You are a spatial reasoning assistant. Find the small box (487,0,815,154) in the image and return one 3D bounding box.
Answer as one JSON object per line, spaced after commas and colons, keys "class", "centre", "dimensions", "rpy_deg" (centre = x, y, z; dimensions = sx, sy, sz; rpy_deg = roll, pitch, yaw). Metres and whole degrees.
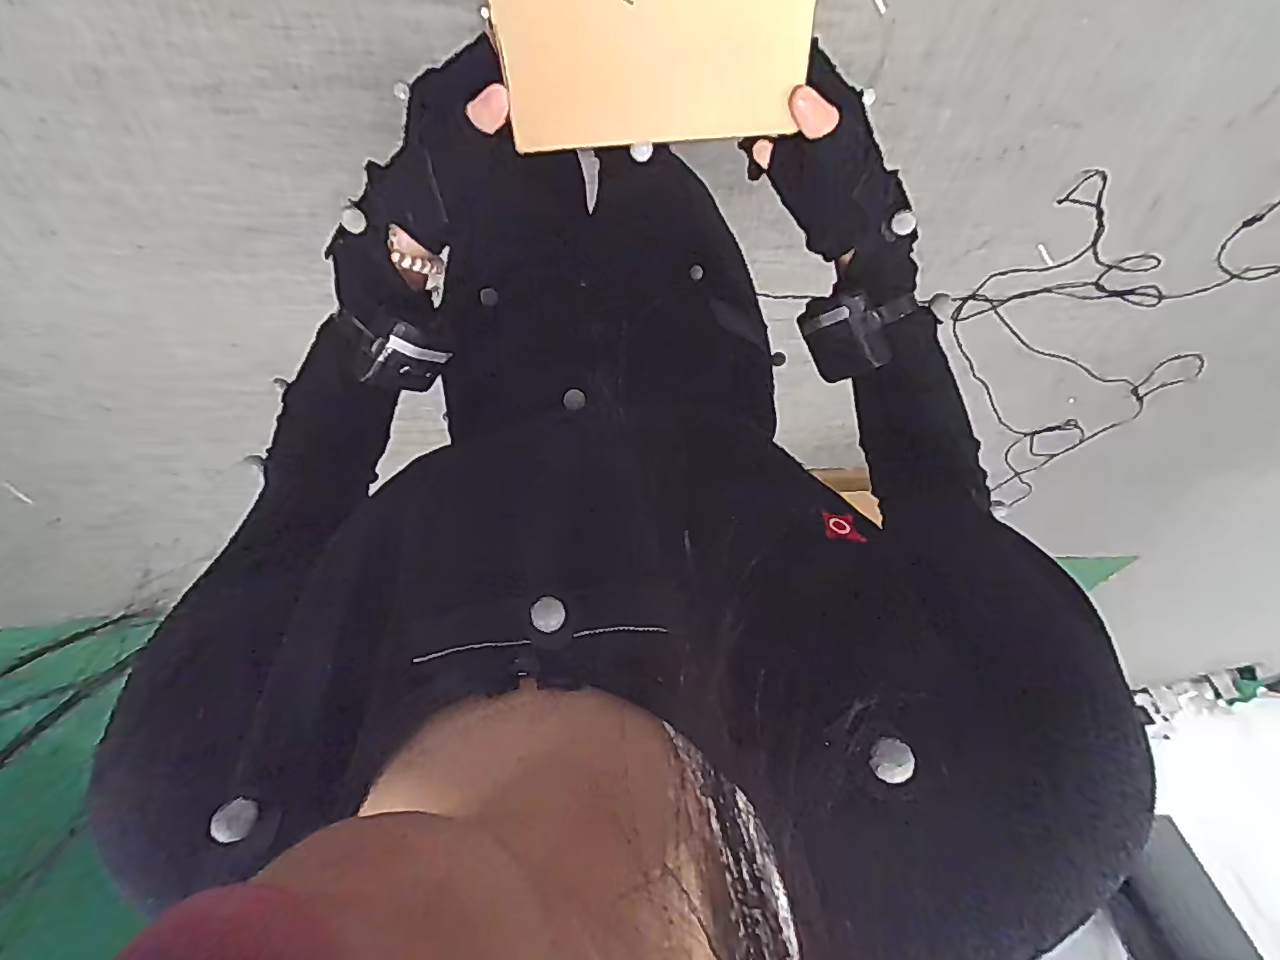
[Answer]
{"class": "small box", "centre": [0.002, -0.317, 0.330], "dimensions": [0.179, 0.176, 0.168], "rpy_deg": [-4, 134, 0]}
